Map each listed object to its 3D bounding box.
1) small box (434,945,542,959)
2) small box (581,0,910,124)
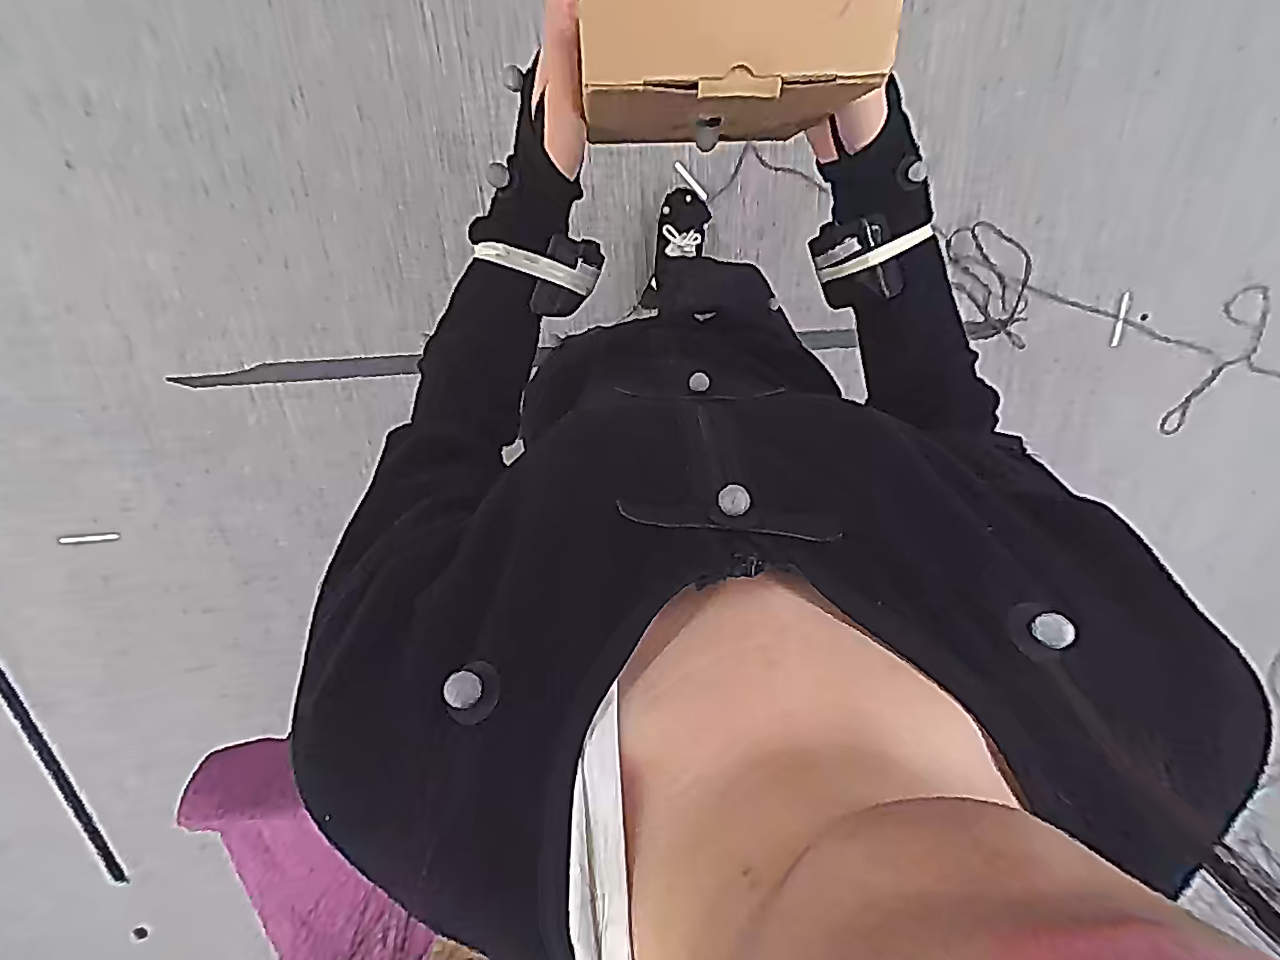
[{"bbox_3d":[-0.226,0.818,0.774,0.168,0.176,0.179,-2,110,-4],"label":"small box"},{"bbox_3d":[0.048,-0.324,0.318,0.168,0.176,0.179,-4,114,-4],"label":"small box"}]
